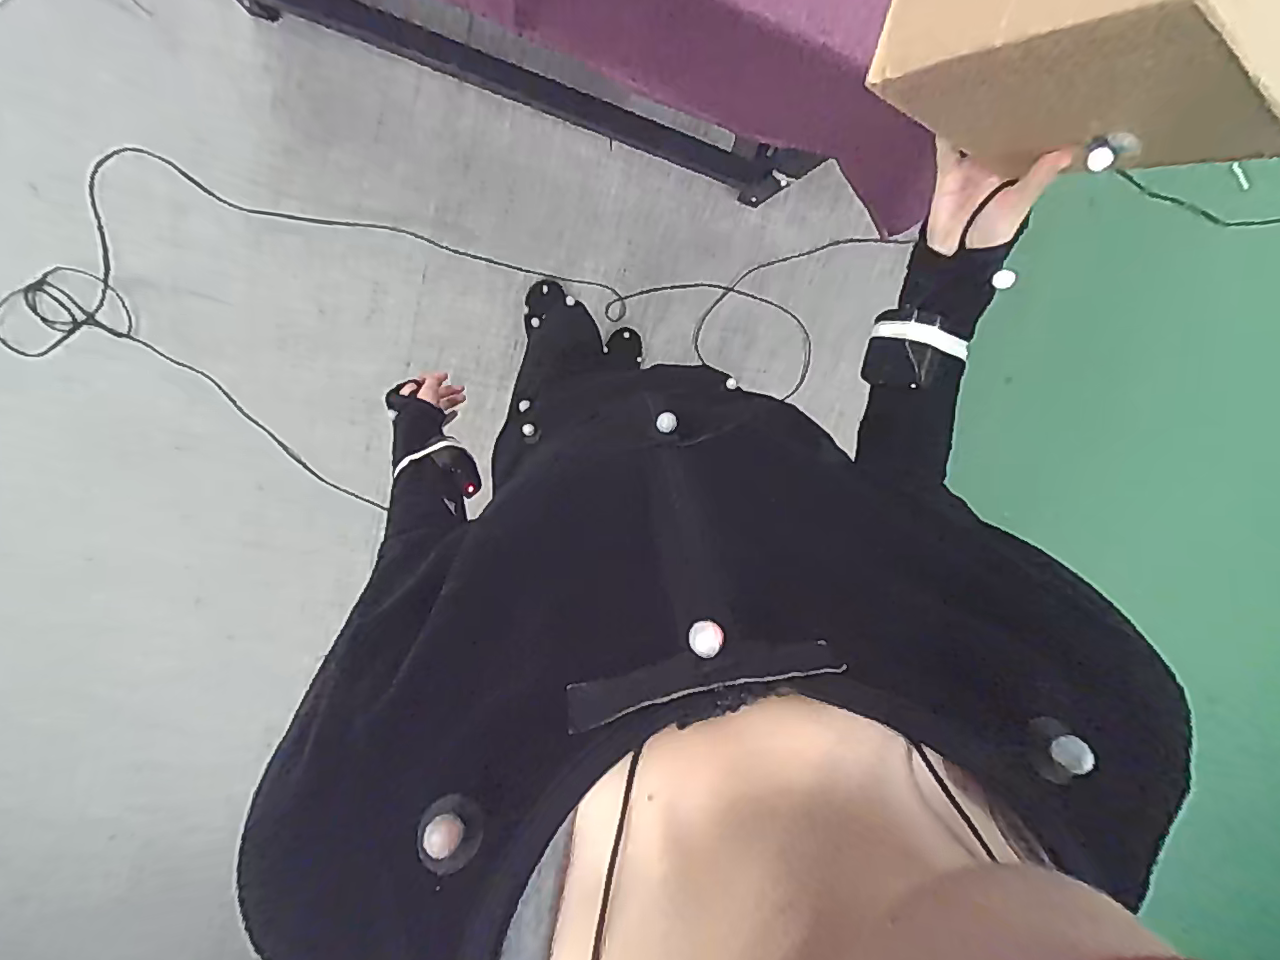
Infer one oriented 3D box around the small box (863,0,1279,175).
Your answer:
[{"bbox_3d":[0.263,-0.291,0.291,0.176,0.179,0.168,8,108,-28],"label":"small box"}]
